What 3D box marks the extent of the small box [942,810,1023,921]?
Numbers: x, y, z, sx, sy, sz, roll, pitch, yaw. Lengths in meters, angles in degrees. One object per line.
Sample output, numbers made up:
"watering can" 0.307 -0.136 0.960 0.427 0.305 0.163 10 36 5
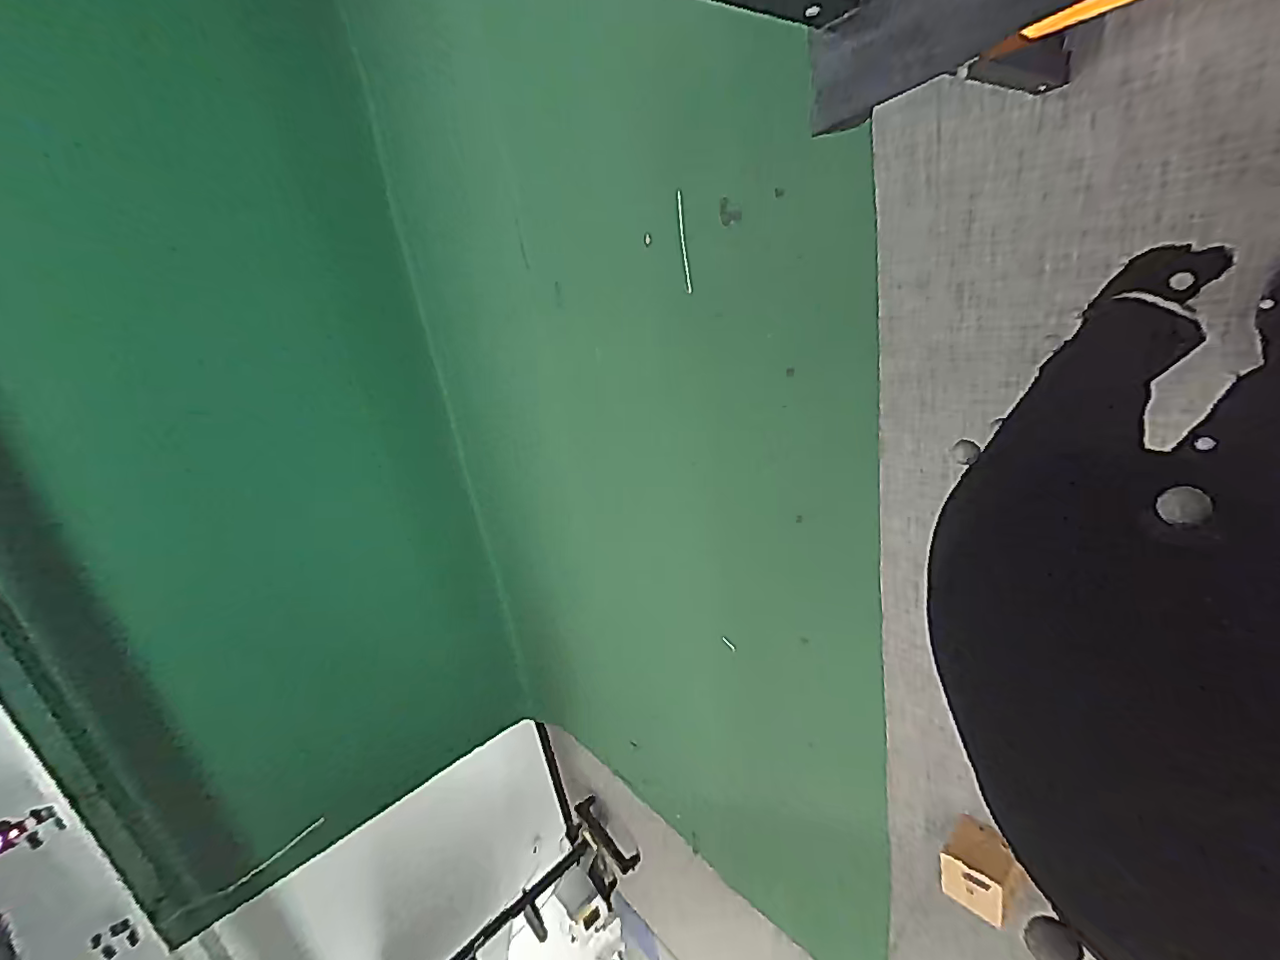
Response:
"small box" 1.039 1.158 1.642 0.168 0.176 0.179 11 118 50
